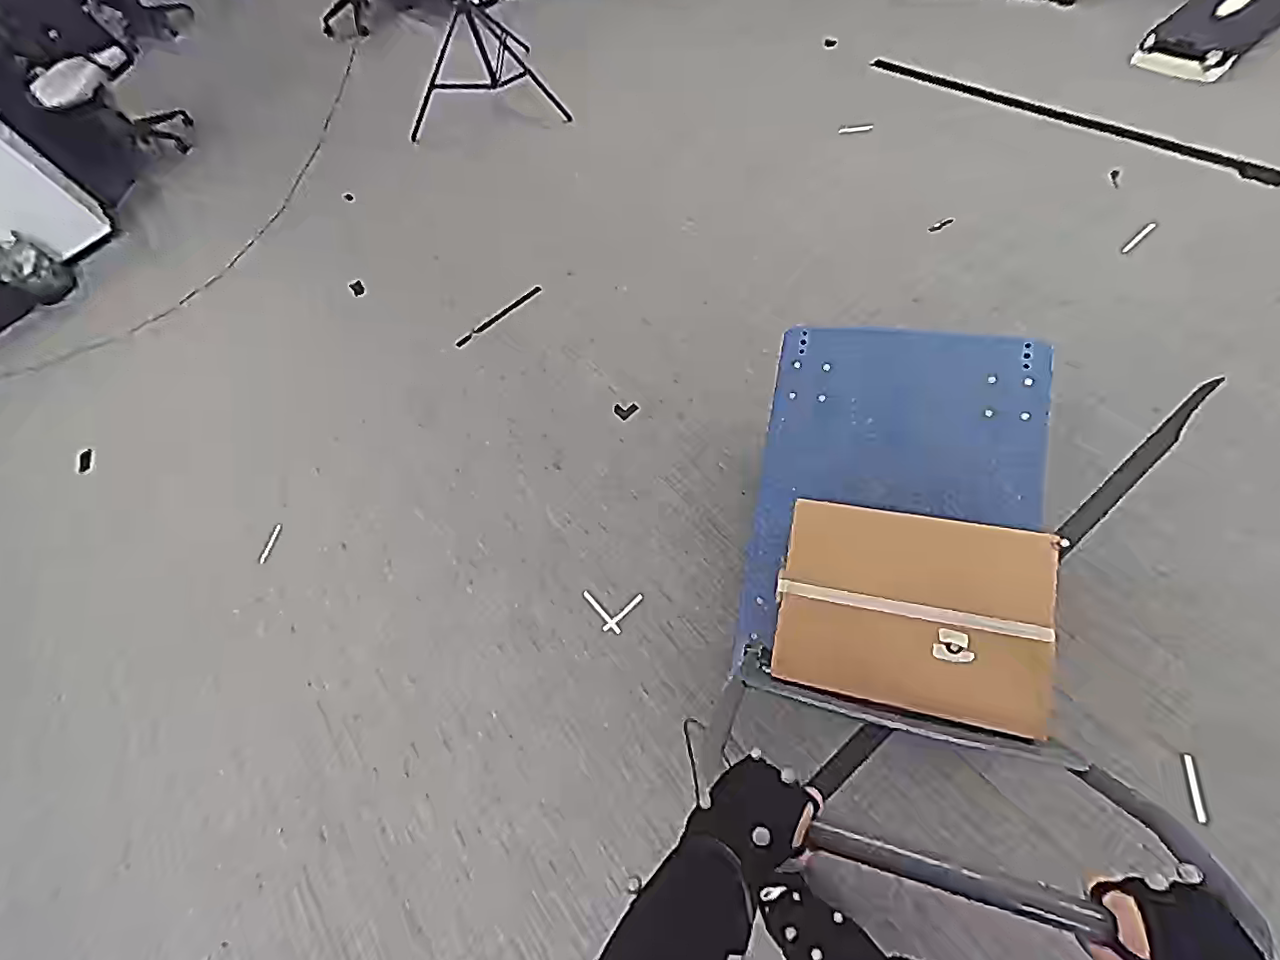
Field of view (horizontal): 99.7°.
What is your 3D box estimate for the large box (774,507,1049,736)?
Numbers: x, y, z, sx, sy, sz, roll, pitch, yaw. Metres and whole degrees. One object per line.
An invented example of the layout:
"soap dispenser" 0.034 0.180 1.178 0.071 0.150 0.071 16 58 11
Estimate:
"large box" 0.479 0.252 1.037 0.408 0.320 0.320 8 80 17
